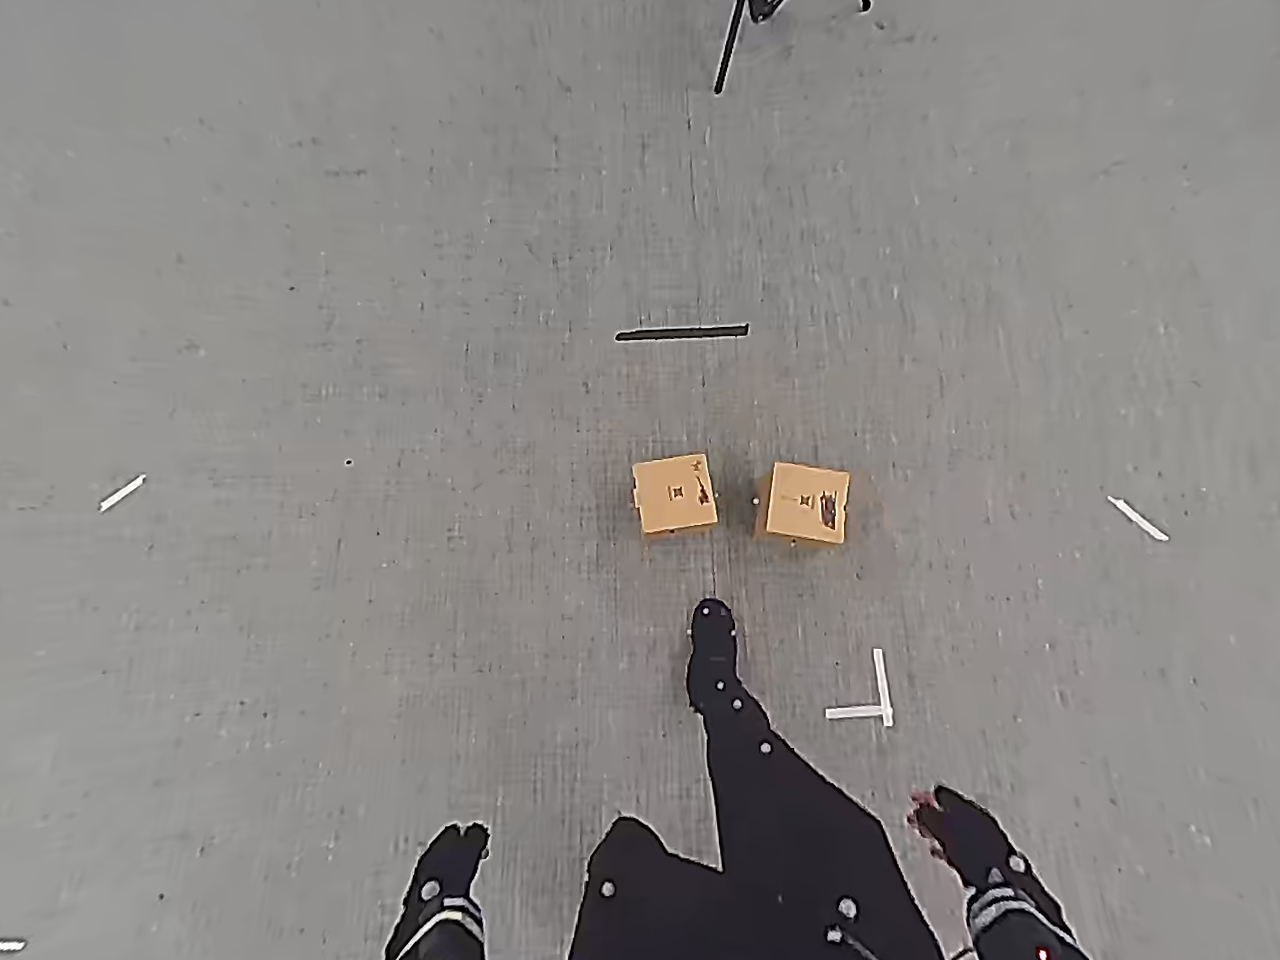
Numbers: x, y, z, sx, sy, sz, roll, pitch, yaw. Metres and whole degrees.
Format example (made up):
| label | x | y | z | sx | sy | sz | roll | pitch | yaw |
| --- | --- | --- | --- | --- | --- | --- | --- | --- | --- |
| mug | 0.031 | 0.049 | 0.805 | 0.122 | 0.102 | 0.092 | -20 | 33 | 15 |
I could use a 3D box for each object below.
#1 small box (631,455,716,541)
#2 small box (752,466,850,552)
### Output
| label | x | y | z | sx | sy | sz | roll | pitch | yaw |
| --- | --- | --- | --- | --- | --- | --- | --- | --- | --- |
| small box | 0.078 | 0.050 | 1.303 | 0.179 | 0.176 | 0.168 | -8 | 78 | -1 |
| small box | 0.379 | 0.076 | 1.293 | 0.179 | 0.176 | 0.168 | 9 | 77 | 2 |
